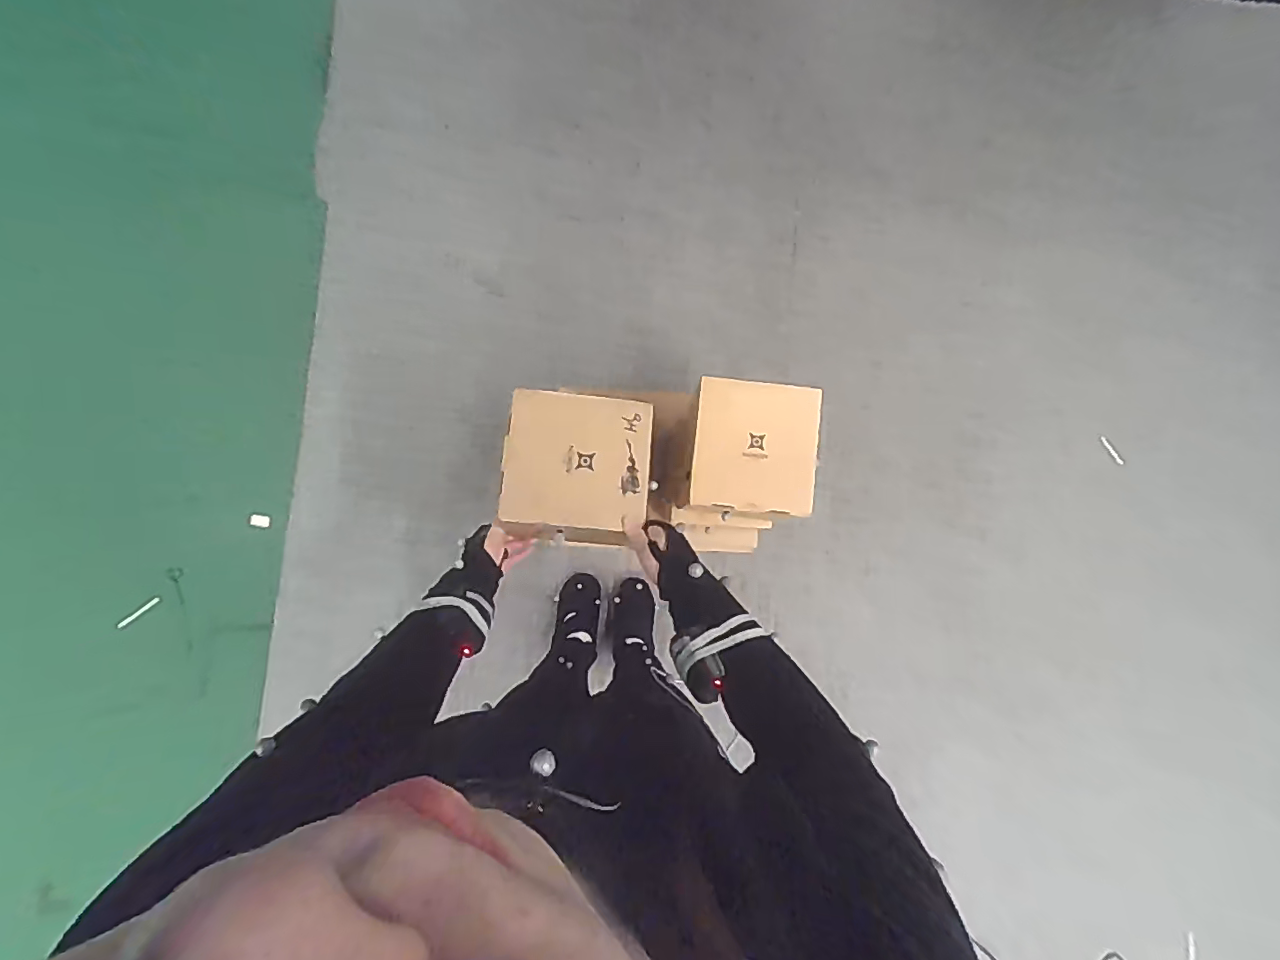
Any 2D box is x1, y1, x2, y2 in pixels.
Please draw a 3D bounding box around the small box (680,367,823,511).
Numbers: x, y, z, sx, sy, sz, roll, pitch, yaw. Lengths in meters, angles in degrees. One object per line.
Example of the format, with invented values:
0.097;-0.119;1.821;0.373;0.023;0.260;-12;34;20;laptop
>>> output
0.155;-0.051;0.804;0.168;0.176;0.179;7;85;-1;small box
